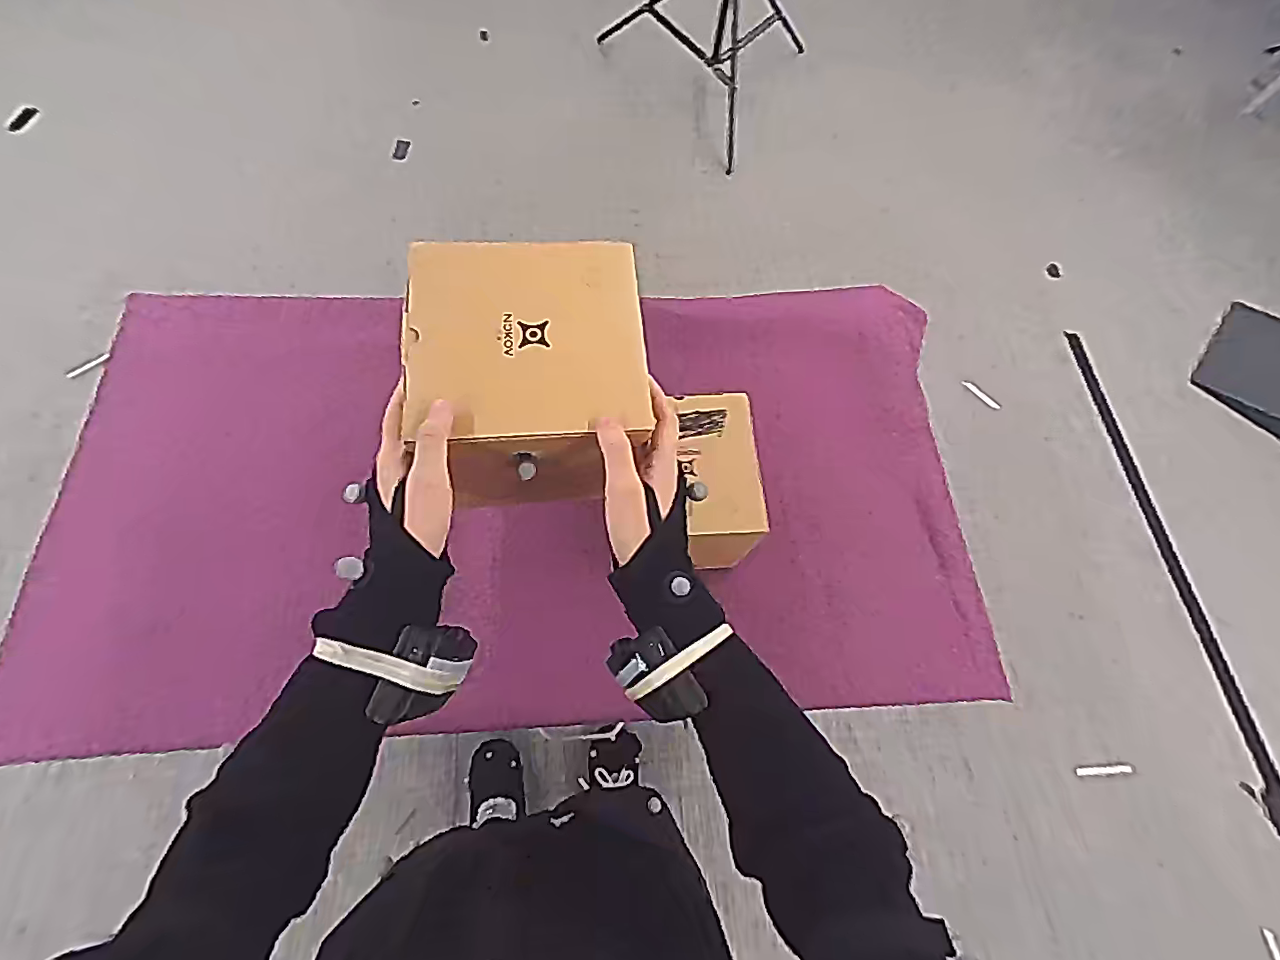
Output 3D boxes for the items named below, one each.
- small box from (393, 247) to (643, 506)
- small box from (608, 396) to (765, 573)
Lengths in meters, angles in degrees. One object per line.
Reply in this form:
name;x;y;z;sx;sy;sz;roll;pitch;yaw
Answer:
small box;-0.101;-0.079;0.477;0.179;0.176;0.168;-4;73;-9
small box;0.045;0.011;0.683;0.168;0.176;0.179;-2;68;-5
